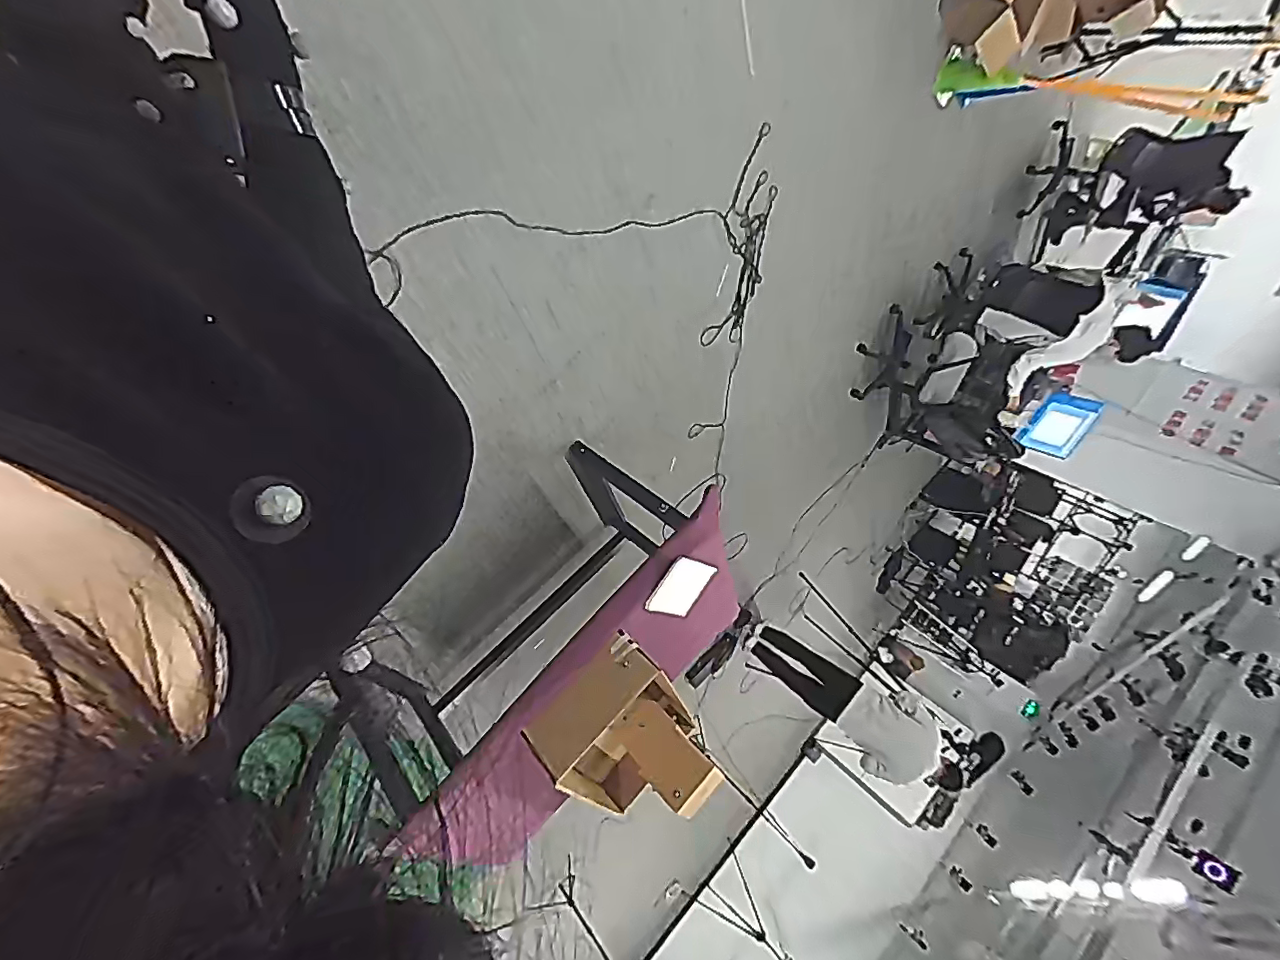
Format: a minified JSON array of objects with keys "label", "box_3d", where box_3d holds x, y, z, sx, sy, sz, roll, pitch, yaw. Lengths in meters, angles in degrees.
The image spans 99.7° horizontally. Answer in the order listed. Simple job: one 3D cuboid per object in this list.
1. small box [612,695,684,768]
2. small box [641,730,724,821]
[{"label":"small box","box_3d":[0.031,0.843,1.786,0.168,0.176,0.179,-42,140,-17]},{"label":"small box","box_3d":[0.133,0.918,1.685,0.179,0.176,0.168,-44,141,-15]}]
